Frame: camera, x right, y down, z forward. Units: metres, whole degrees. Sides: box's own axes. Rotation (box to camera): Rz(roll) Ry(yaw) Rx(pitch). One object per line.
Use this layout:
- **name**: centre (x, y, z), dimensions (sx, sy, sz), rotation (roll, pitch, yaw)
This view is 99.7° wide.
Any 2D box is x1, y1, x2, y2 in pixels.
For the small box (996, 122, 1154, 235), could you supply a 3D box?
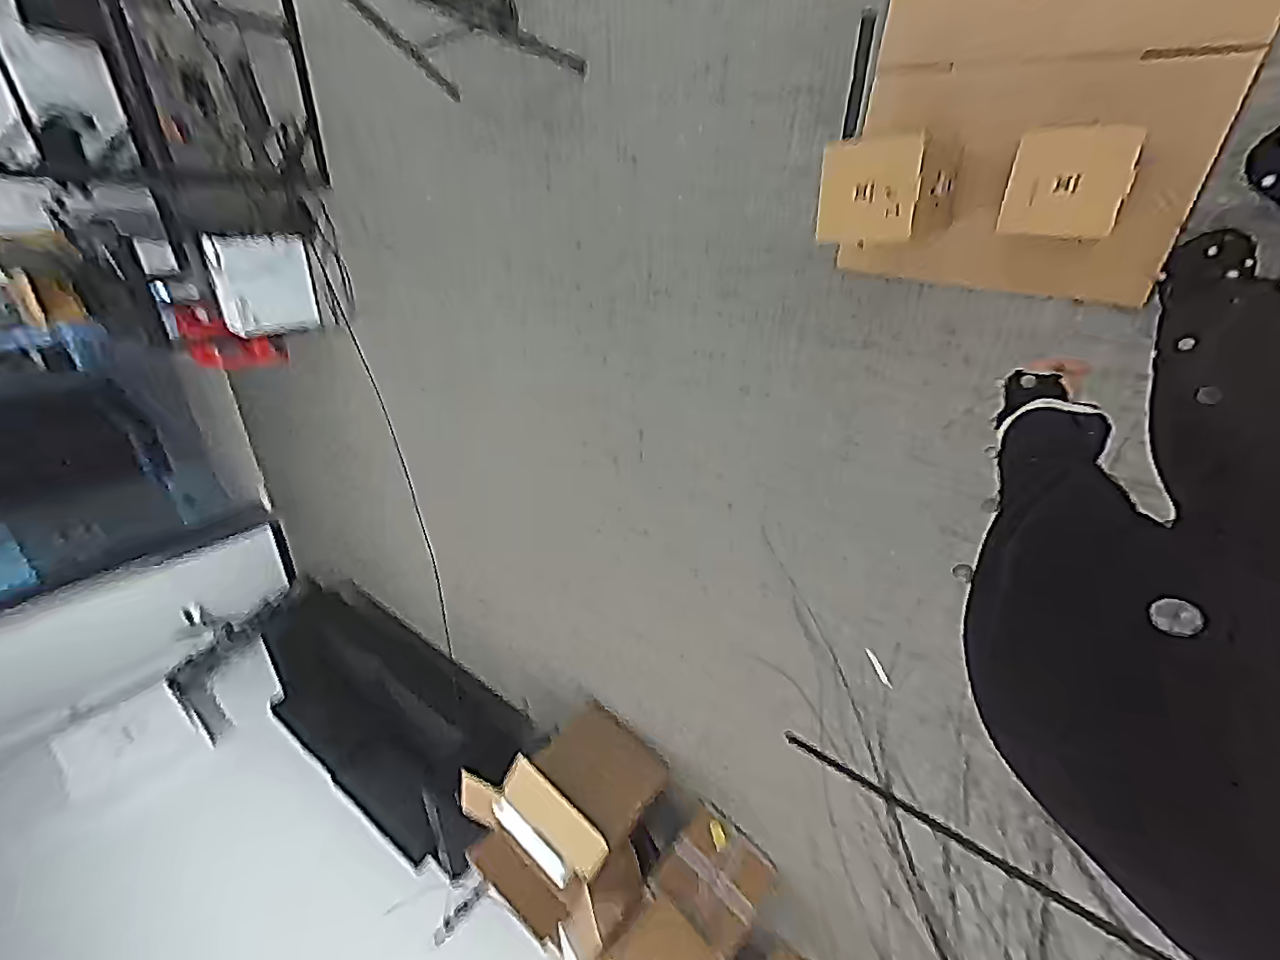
- **small box**: centre (0.779, -0.539, 0.976), dimensions (0.179, 0.176, 0.168), rotation (19, 123, 33)

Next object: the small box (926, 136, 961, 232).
- **small box**: centre (0.553, -0.610, 1.131), dimensions (0.179, 0.176, 0.168), rotation (14, 120, 34)

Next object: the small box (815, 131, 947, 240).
- **small box**: centre (0.452, -0.546, 1.018), dimensions (0.179, 0.176, 0.168), rotation (16, 123, 34)
